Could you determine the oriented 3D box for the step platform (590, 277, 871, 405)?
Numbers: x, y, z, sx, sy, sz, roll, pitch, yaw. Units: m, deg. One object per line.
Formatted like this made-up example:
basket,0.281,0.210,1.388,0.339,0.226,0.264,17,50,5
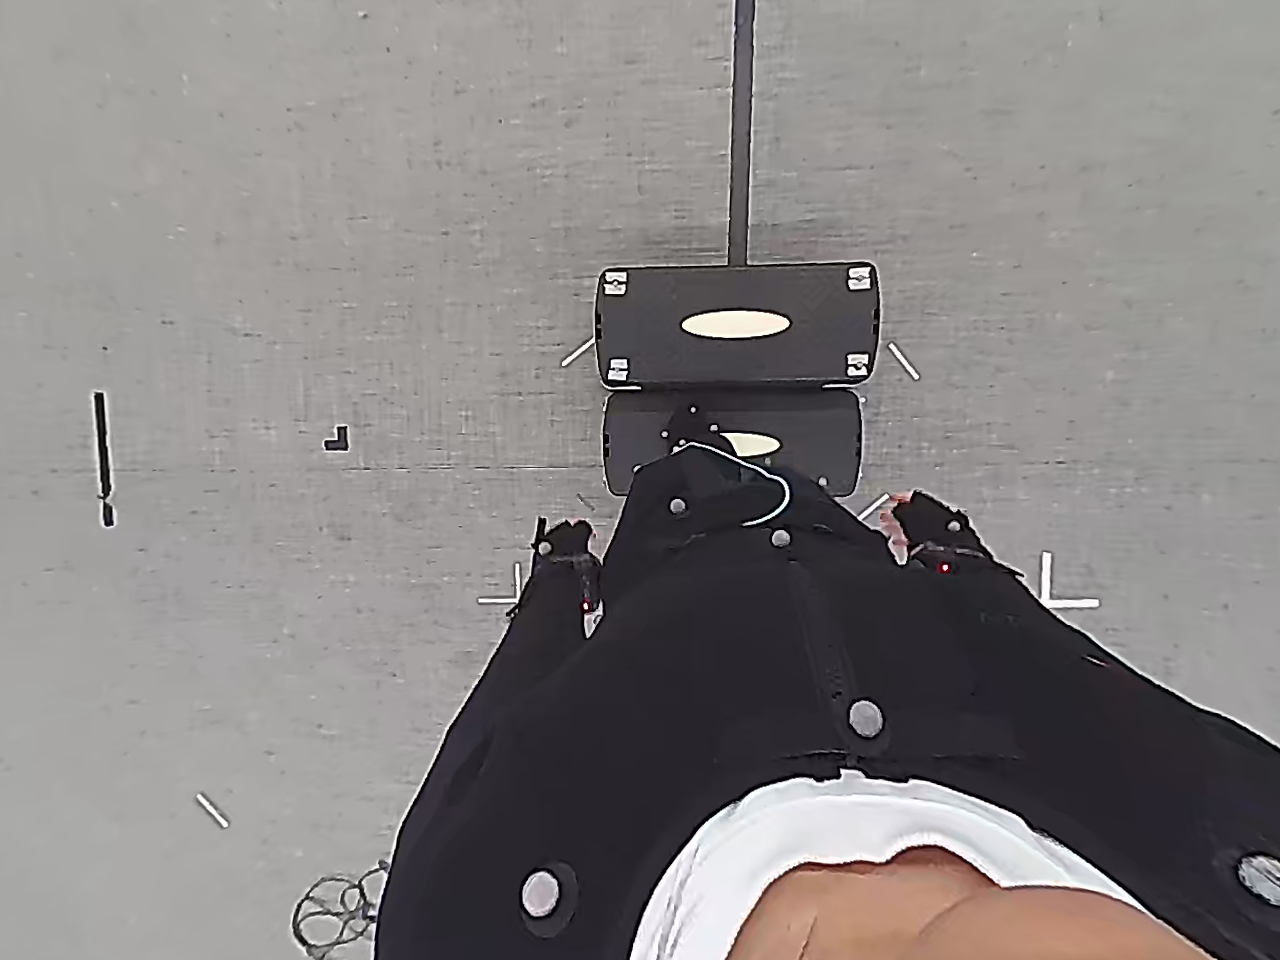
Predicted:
step platform,0.216,-0.344,1.369,0.684,0.204,0.286,-1,97,3
